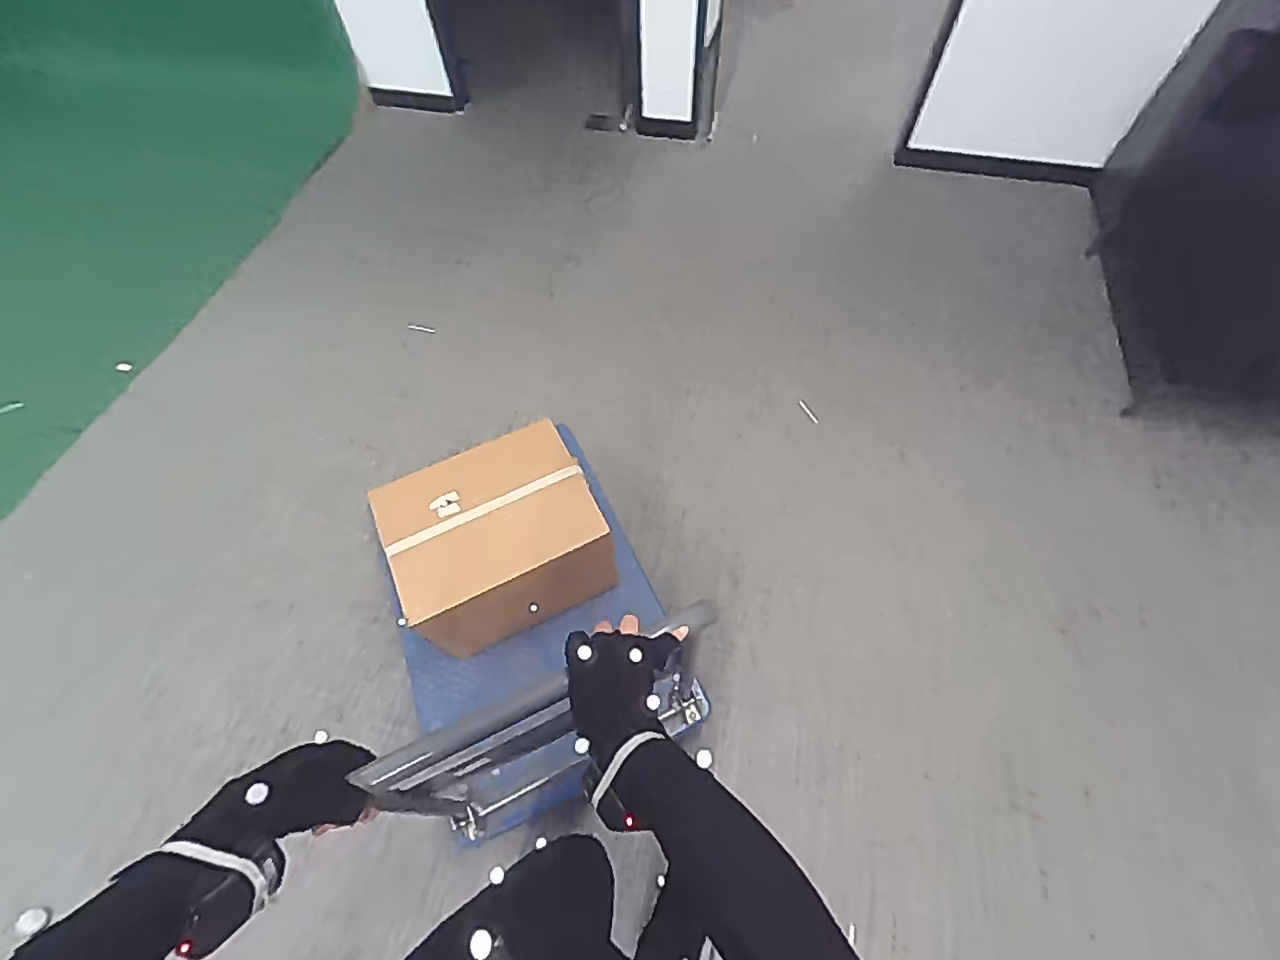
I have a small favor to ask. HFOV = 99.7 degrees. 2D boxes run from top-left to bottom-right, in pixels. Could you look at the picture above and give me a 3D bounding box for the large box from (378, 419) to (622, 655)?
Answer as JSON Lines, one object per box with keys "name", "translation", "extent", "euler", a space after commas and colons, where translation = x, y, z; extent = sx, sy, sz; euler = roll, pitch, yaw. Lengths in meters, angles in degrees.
{"name": "large box", "translation": [-0.290, 0.135, 1.212], "extent": [0.408, 0.320, 0.320], "euler": [-25, 63, -12]}
